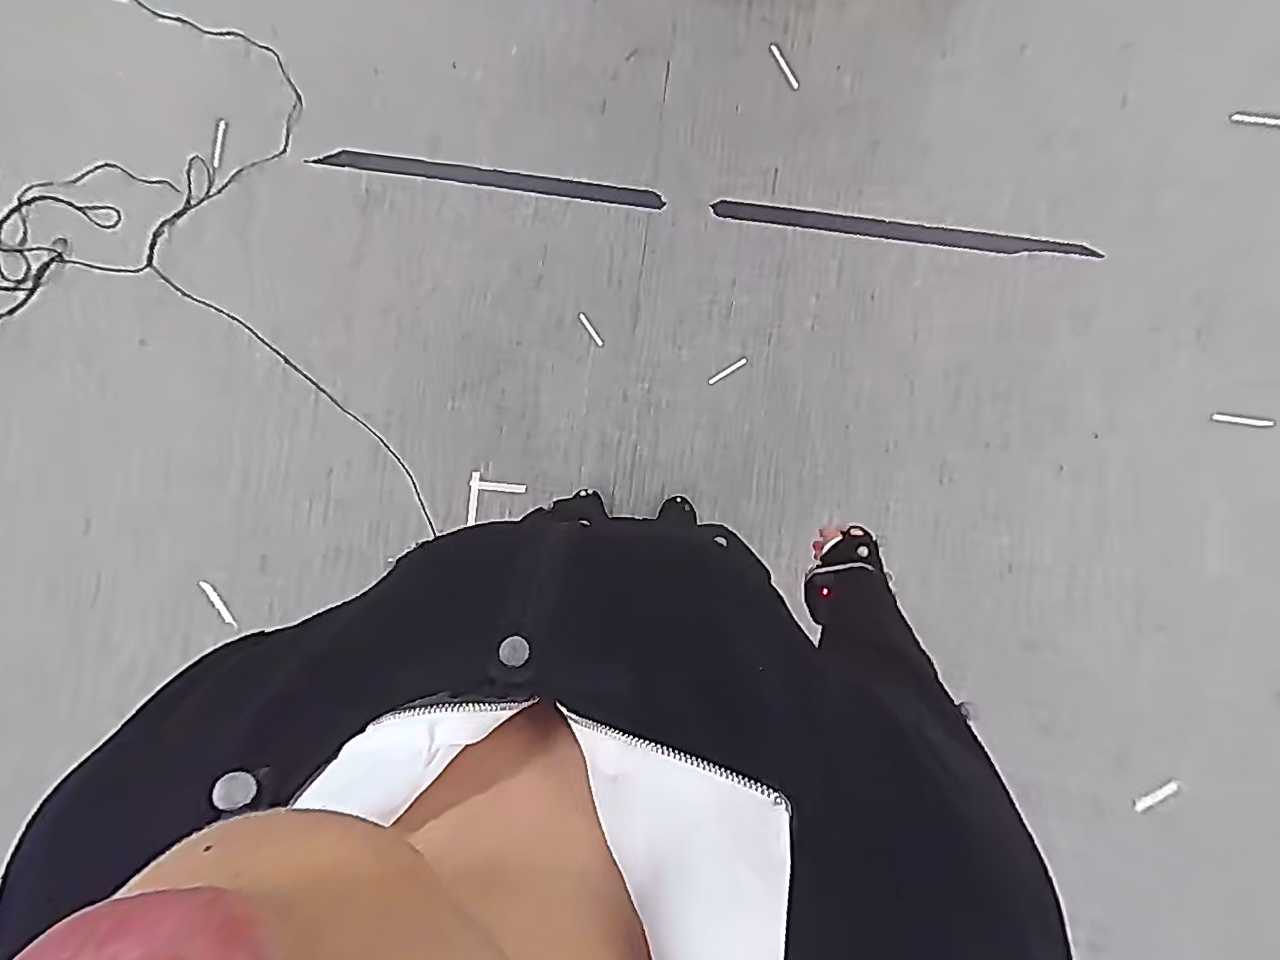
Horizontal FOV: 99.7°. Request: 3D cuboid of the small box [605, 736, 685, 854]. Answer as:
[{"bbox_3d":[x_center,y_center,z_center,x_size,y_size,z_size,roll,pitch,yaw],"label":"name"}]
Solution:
[{"bbox_3d":[0.017,0.748,1.299,0.168,0.176,0.179,7,89,3],"label":"small box"}]
